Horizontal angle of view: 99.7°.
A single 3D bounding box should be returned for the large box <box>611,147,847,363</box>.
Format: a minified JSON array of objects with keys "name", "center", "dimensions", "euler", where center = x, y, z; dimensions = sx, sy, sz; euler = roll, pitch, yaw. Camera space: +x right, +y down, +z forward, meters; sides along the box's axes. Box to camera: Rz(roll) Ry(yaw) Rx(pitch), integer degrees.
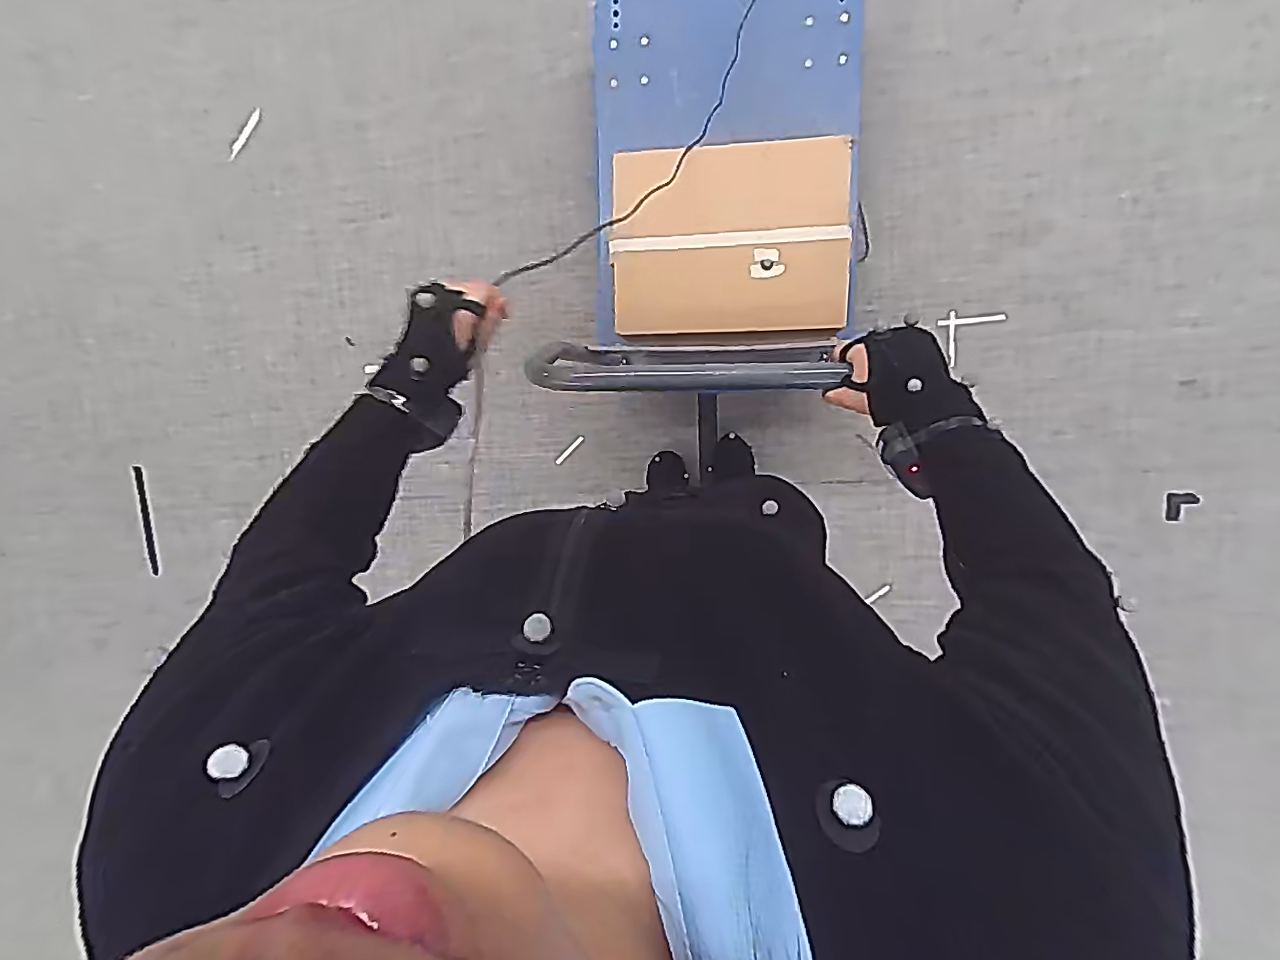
[{"name":"large box","center":[0.167,-0.413,1.081],"dimensions":[0.408,0.320,0.320],"euler":[0,97,8]}]
